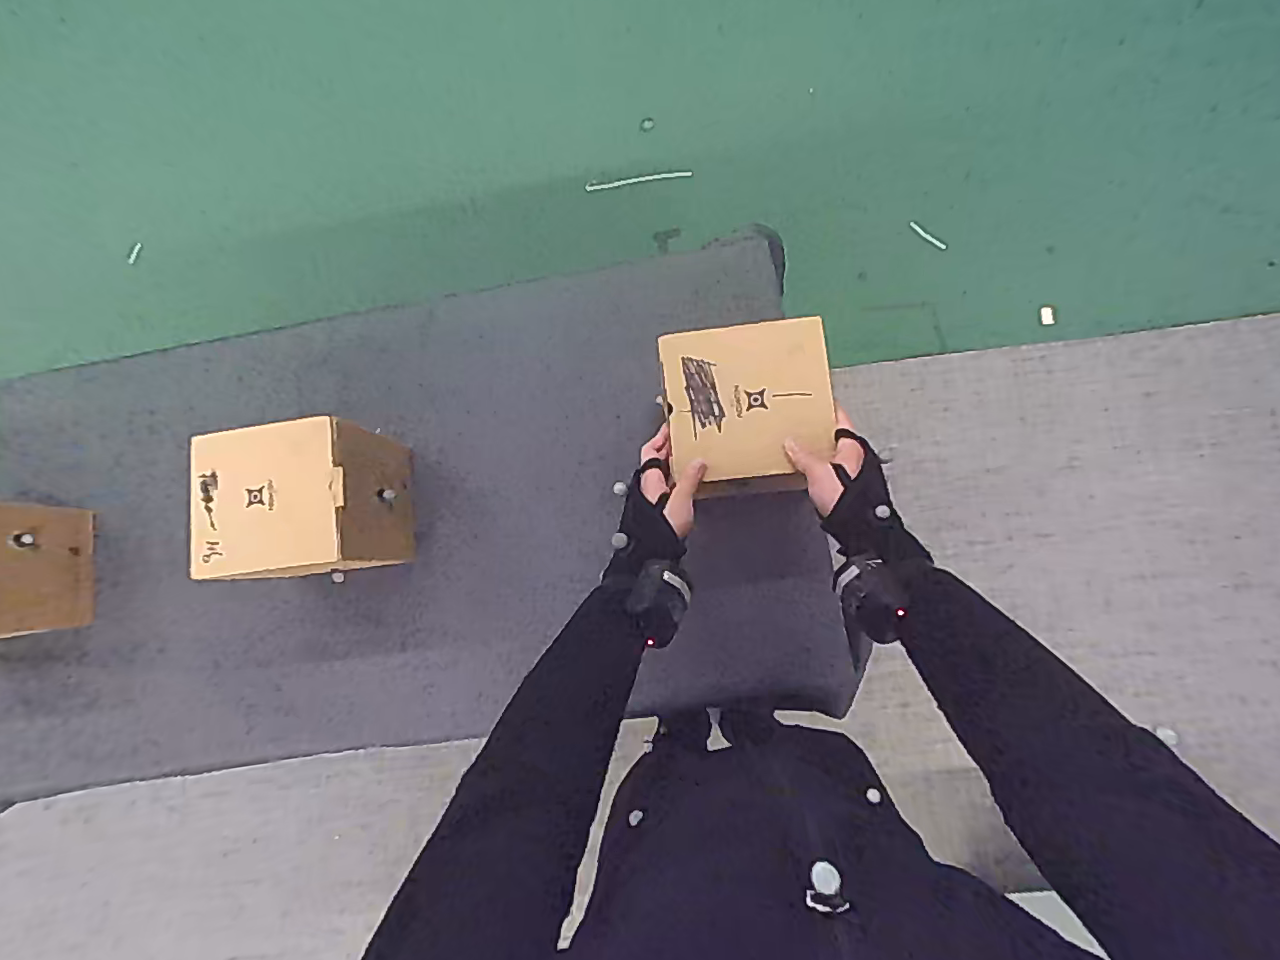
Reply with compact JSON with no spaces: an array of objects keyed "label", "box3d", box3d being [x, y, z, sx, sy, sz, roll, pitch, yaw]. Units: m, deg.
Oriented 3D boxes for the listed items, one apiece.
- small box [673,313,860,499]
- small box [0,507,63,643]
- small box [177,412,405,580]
[{"label":"small box","box3d":[0.132,-0.074,0.633,0.179,0.176,0.168,-5,80,2]},{"label":"small box","box3d":[-0.869,0.121,0.656,0.179,0.176,0.168,-9,78,2]},{"label":"small box","box3d":[-0.397,0.027,0.647,0.179,0.176,0.168,-7,80,1]}]
